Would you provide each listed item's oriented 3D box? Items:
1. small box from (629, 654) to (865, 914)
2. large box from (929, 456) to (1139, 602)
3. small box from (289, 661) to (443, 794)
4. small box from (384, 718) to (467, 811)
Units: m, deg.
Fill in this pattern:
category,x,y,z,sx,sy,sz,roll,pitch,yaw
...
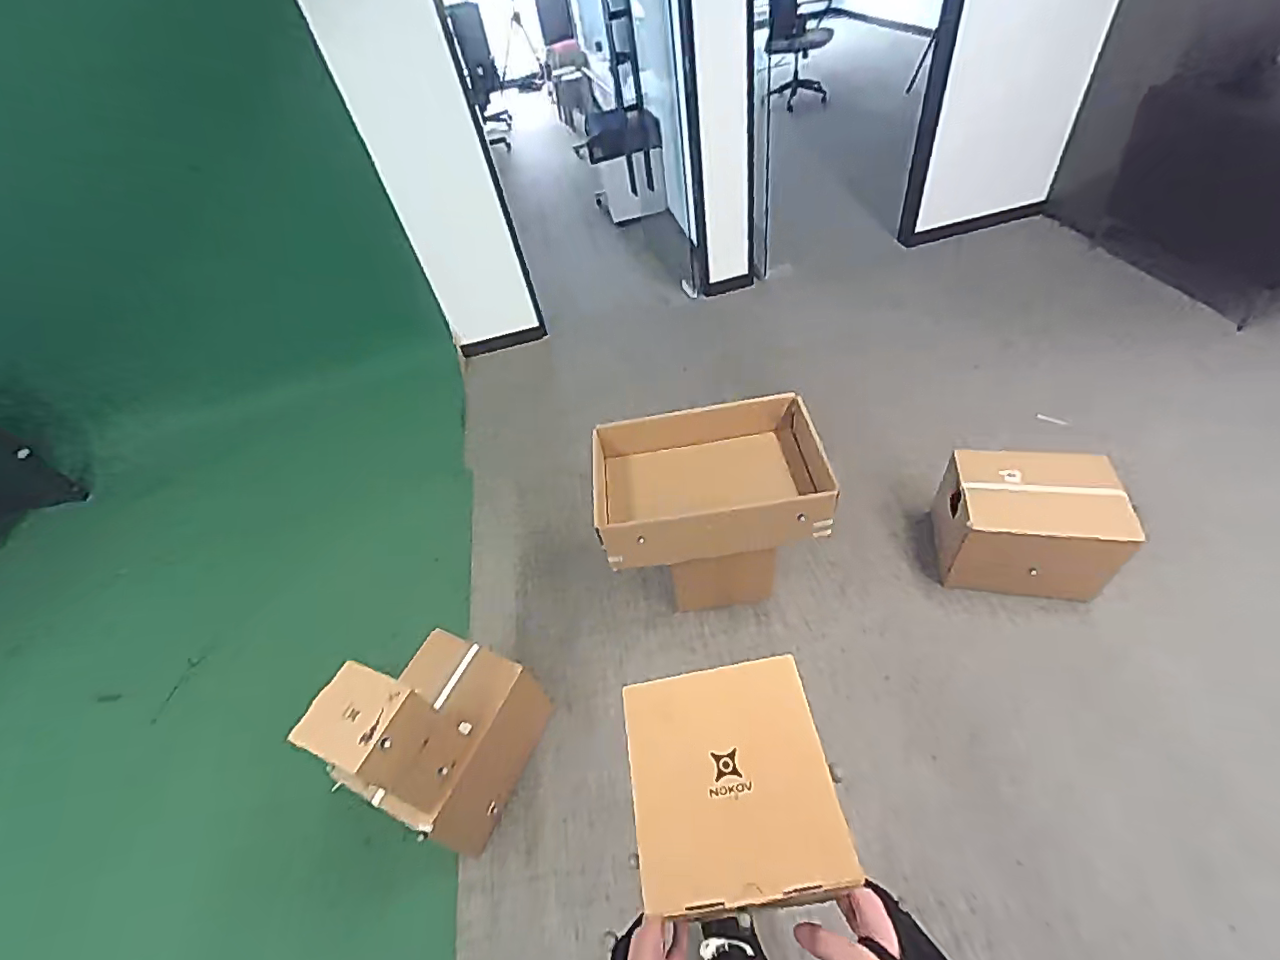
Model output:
category,x,y,z,sx,sy,sz,roll,pitch,yaw
small box,0.090,0.293,0.517,0.168,0.176,0.179,-12,50,3
large box,1.141,0.147,1.630,0.408,0.320,0.320,3,48,15
small box,-0.533,0.494,1.074,0.179,0.176,0.168,13,51,21
small box,-0.521,0.602,1.198,0.179,0.176,0.168,14,52,21
